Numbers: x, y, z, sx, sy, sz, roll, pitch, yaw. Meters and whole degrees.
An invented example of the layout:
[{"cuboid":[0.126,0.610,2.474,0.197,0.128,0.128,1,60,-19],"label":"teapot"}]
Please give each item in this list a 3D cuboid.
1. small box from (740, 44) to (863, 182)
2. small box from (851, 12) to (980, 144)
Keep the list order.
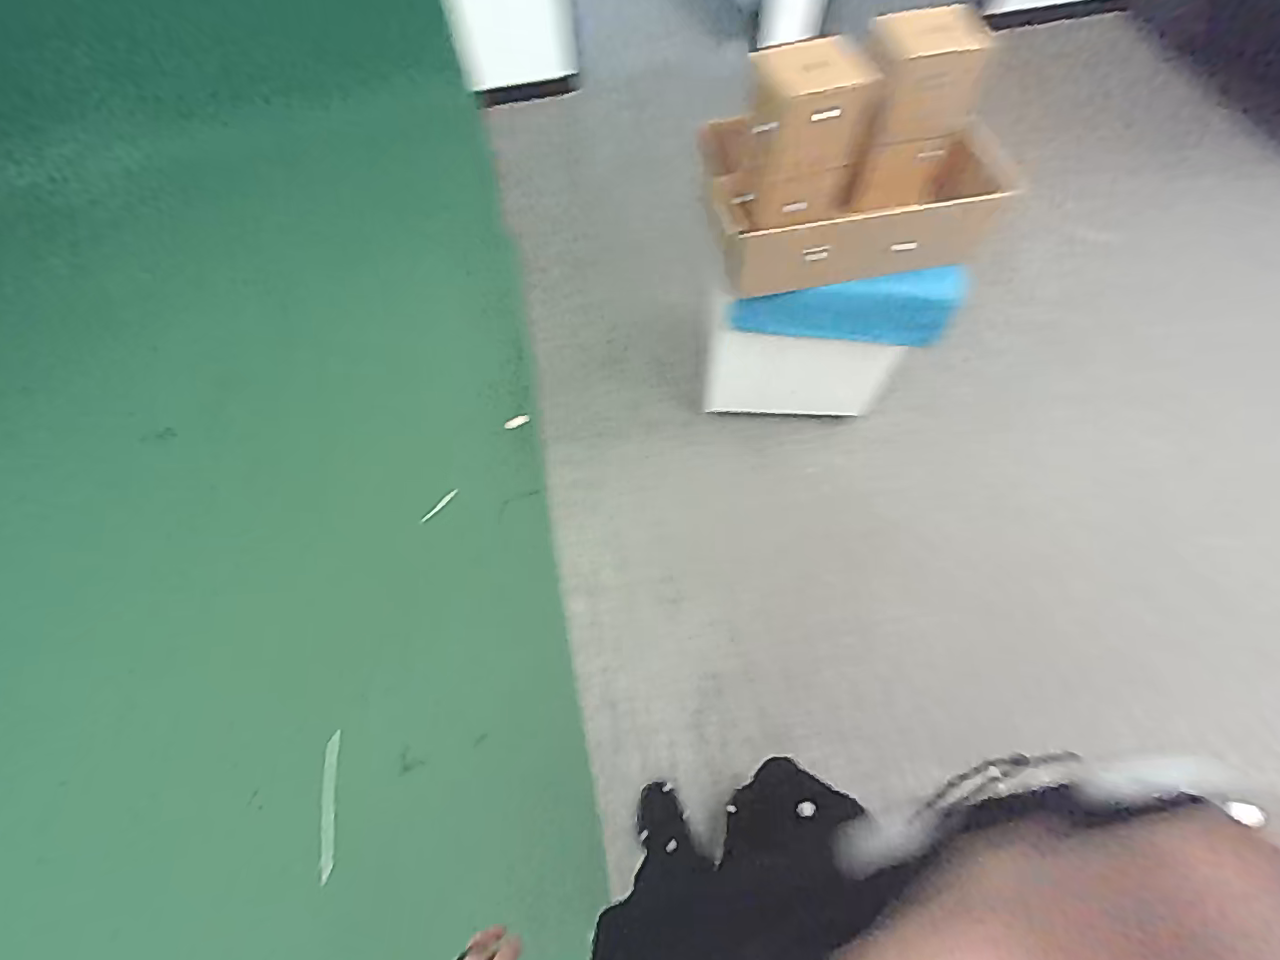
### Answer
[{"cuboid":[0.312,-0.735,1.093,0.179,0.176,0.168,-15,63,-7],"label":"small box"},{"cuboid":[0.561,-0.840,1.140,0.179,0.176,0.168,-7,63,-2],"label":"small box"}]
